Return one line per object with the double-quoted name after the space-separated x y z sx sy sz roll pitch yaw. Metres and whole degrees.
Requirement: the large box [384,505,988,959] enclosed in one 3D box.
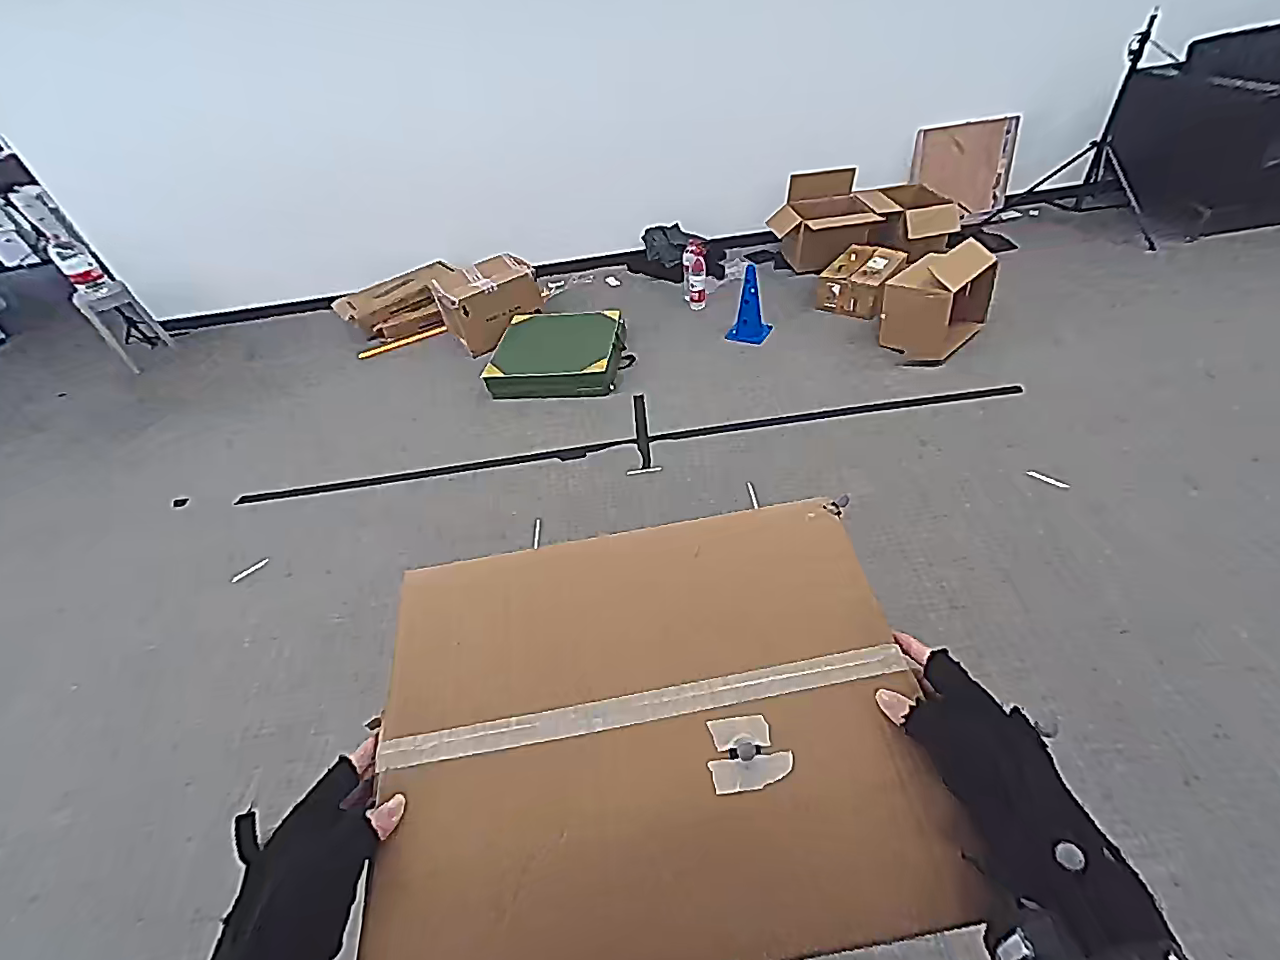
0.020 0.269 0.548 0.408 0.320 0.320 -10 54 -1 "large box"
